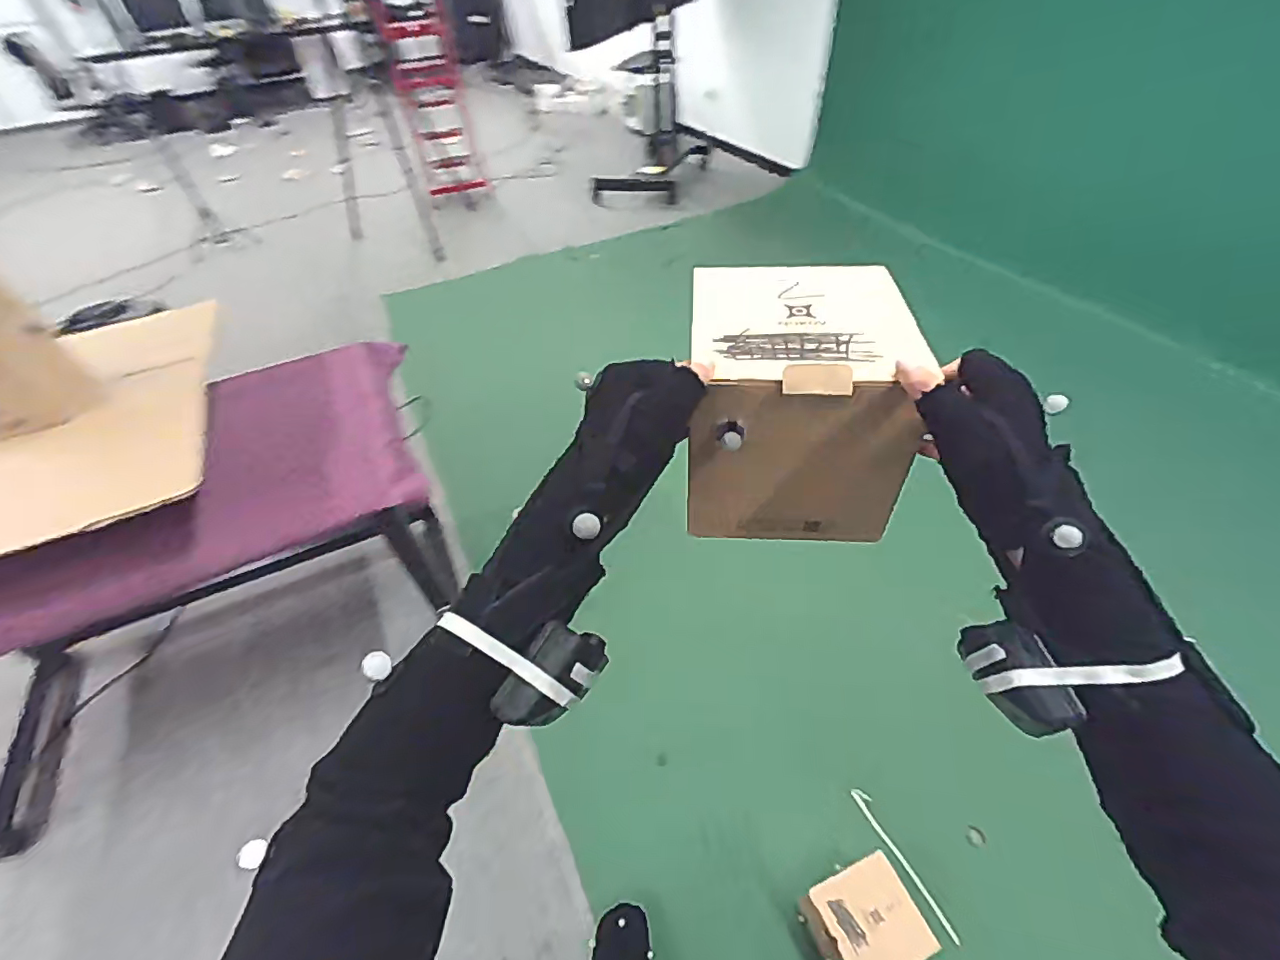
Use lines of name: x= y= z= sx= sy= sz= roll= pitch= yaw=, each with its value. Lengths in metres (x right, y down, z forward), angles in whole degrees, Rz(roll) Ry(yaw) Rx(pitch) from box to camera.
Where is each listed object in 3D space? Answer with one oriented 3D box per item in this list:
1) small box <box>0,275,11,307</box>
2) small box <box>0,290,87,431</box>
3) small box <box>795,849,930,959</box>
small box: x=-1.138 y=-0.314 z=0.820 sx=0.168 sy=0.176 sz=0.179 roll=-21 pitch=47 yaw=-16
small box: x=-1.128 y=-0.199 z=0.935 sx=0.168 sy=0.176 sz=0.179 roll=-20 pitch=47 yaw=-14
small box: x=0.425 y=0.874 z=1.069 sx=0.179 sy=0.176 sz=0.168 roll=-22 pitch=49 yaw=-14
